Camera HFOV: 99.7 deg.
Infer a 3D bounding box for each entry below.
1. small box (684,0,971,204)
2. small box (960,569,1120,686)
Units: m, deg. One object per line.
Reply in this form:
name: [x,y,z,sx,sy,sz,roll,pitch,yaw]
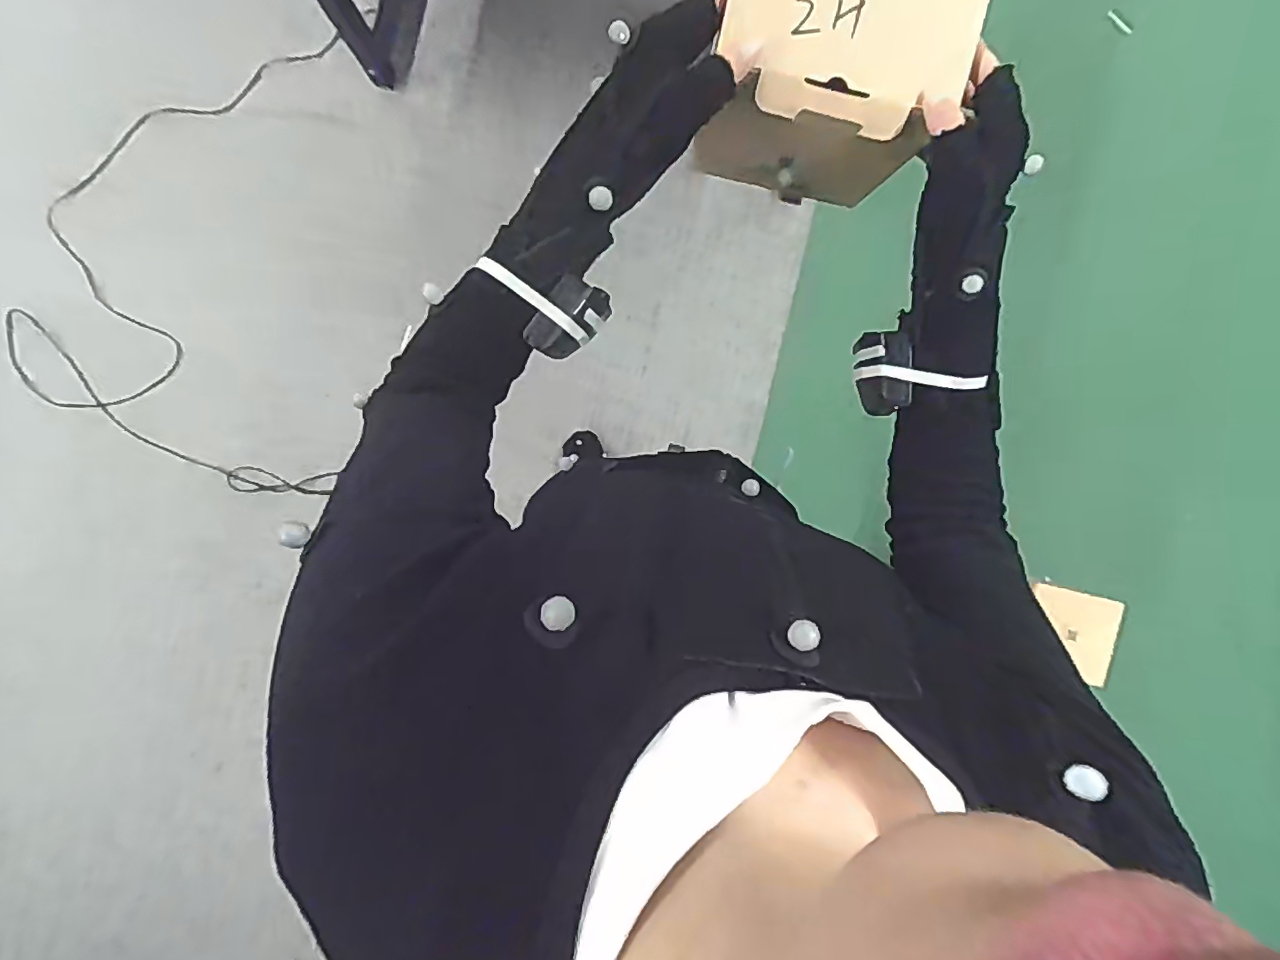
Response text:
small box: [0.136,-0.352,0.424,0.168,0.176,0.179,12,98,-3]
small box: [0.794,0.288,1.091,0.179,0.176,0.168,13,92,-2]
